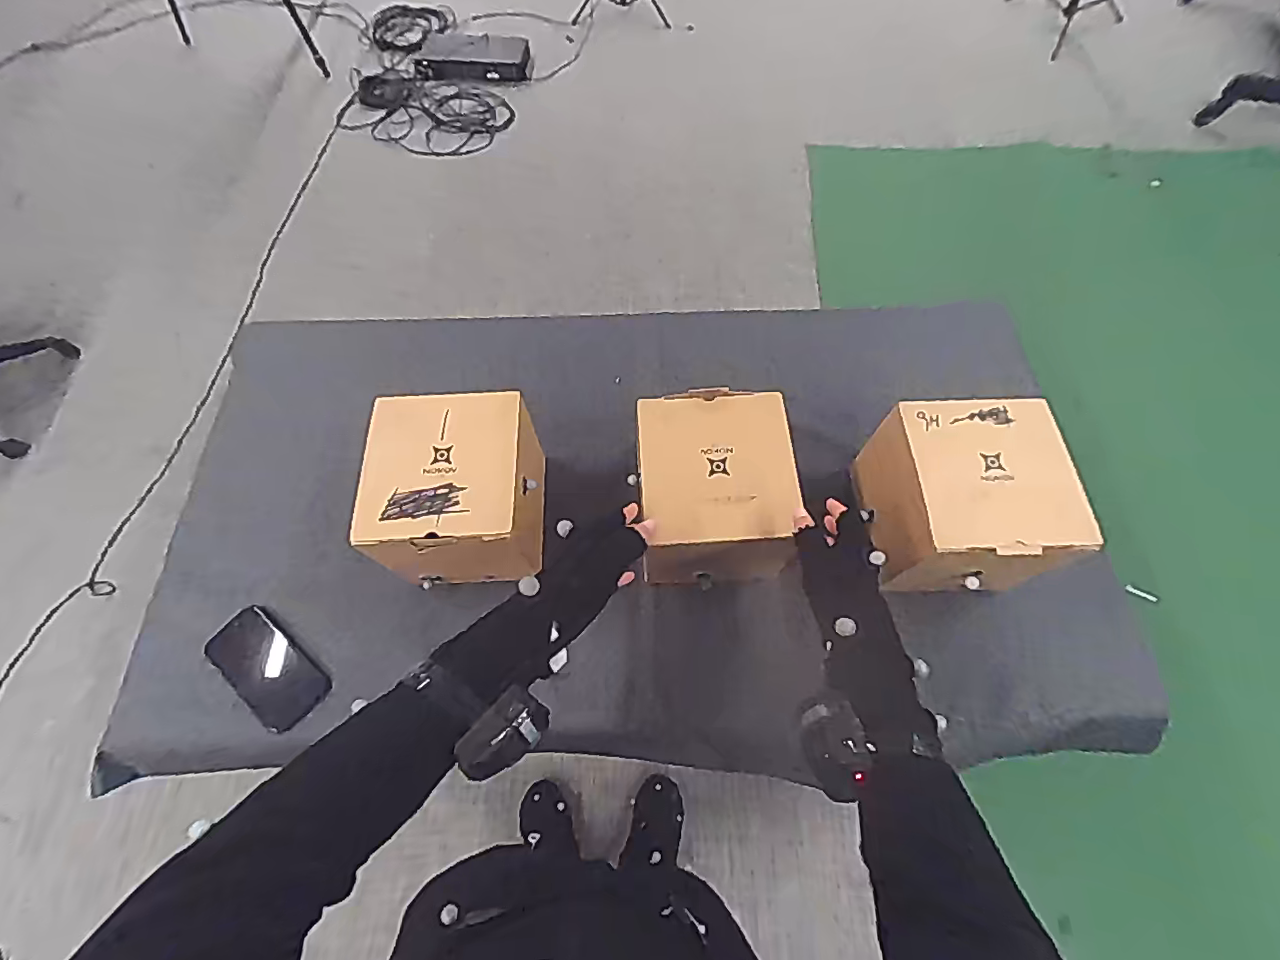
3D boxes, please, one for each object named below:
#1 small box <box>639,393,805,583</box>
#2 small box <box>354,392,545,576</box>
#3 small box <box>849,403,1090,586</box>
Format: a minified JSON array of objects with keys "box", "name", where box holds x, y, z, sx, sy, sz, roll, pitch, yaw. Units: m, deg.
[{"box":[0.084,0.016,0.652,0.168,0.176,0.179,-4,66,0],"name":"small box"},{"box":[-0.211,0.015,0.653,0.168,0.176,0.179,-2,65,-1],"name":"small box"},{"box":[0.367,0.026,0.644,0.168,0.176,0.179,-1,66,0],"name":"small box"}]
